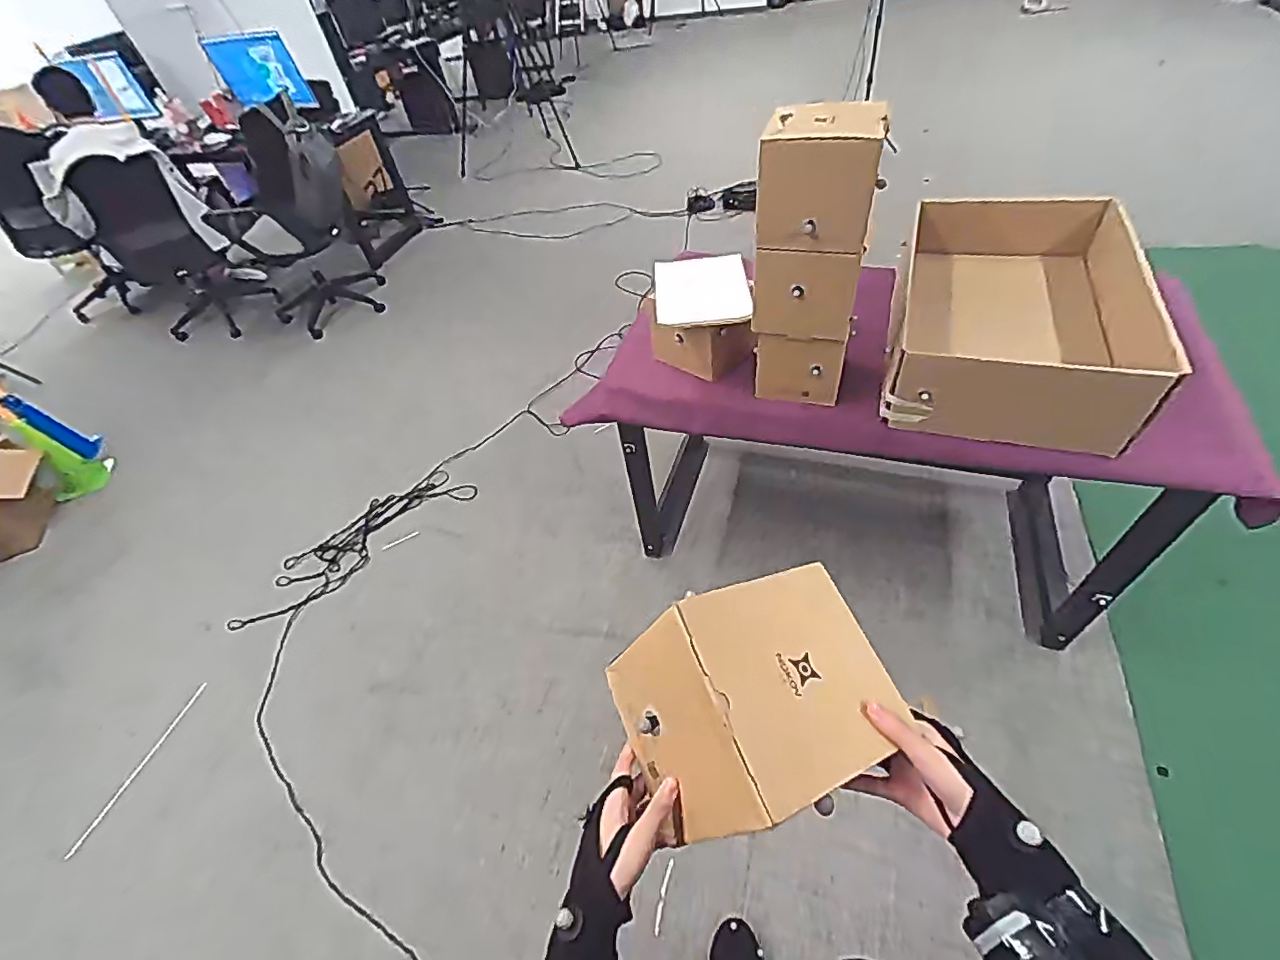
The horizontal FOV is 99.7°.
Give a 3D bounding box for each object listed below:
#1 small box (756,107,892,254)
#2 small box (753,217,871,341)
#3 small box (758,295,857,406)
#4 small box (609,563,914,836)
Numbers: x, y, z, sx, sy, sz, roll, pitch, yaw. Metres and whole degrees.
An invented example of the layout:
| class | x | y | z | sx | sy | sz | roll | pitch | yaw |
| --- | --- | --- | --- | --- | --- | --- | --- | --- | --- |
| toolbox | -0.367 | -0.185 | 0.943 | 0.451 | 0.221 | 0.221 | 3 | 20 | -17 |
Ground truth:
| class | x | y | z | sx | sy | sz | roll | pitch | yaw |
| --- | --- | --- | --- | --- | --- | --- | --- | --- | --- |
| small box | 0.295 | -0.487 | 0.884 | 0.179 | 0.176 | 0.168 | 11 | 50 | 18 |
| small box | 0.315 | -0.377 | 1.005 | 0.179 | 0.176 | 0.168 | 11 | 50 | 19 |
| small box | 0.346 | -0.275 | 1.130 | 0.168 | 0.176 | 0.179 | 11 | 50 | 18 |
| small box | 0.096 | 0.198 | 0.497 | 0.179 | 0.176 | 0.168 | -7 | 59 | -31 |
